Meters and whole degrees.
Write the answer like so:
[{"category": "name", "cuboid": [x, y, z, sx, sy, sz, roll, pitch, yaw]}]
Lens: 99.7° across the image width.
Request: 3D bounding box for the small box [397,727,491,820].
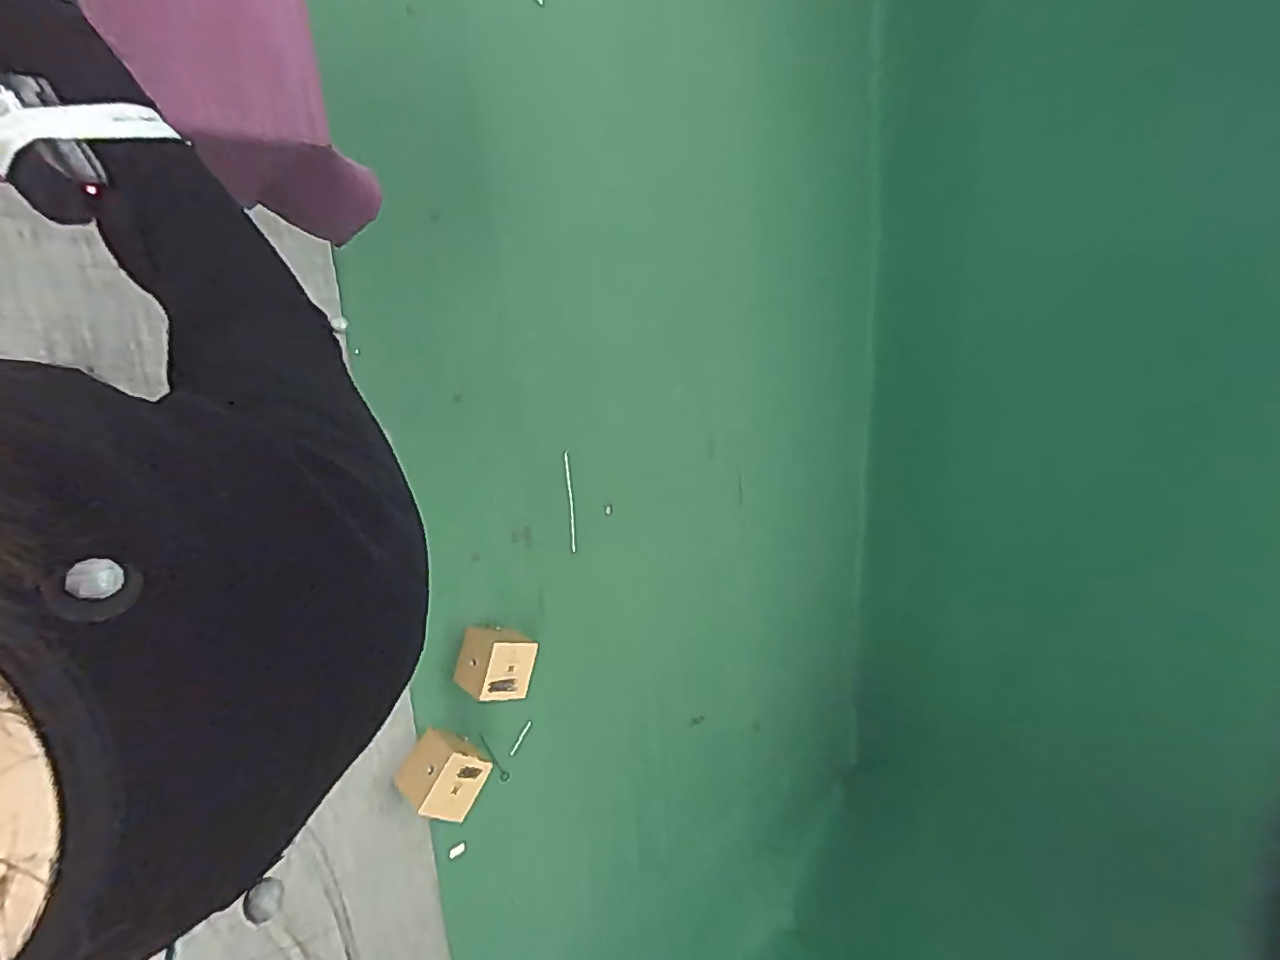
[{"category": "small box", "cuboid": [-0.590, 0.871, 1.615, 0.168, 0.176, 0.179, 46, 66, -39]}]
